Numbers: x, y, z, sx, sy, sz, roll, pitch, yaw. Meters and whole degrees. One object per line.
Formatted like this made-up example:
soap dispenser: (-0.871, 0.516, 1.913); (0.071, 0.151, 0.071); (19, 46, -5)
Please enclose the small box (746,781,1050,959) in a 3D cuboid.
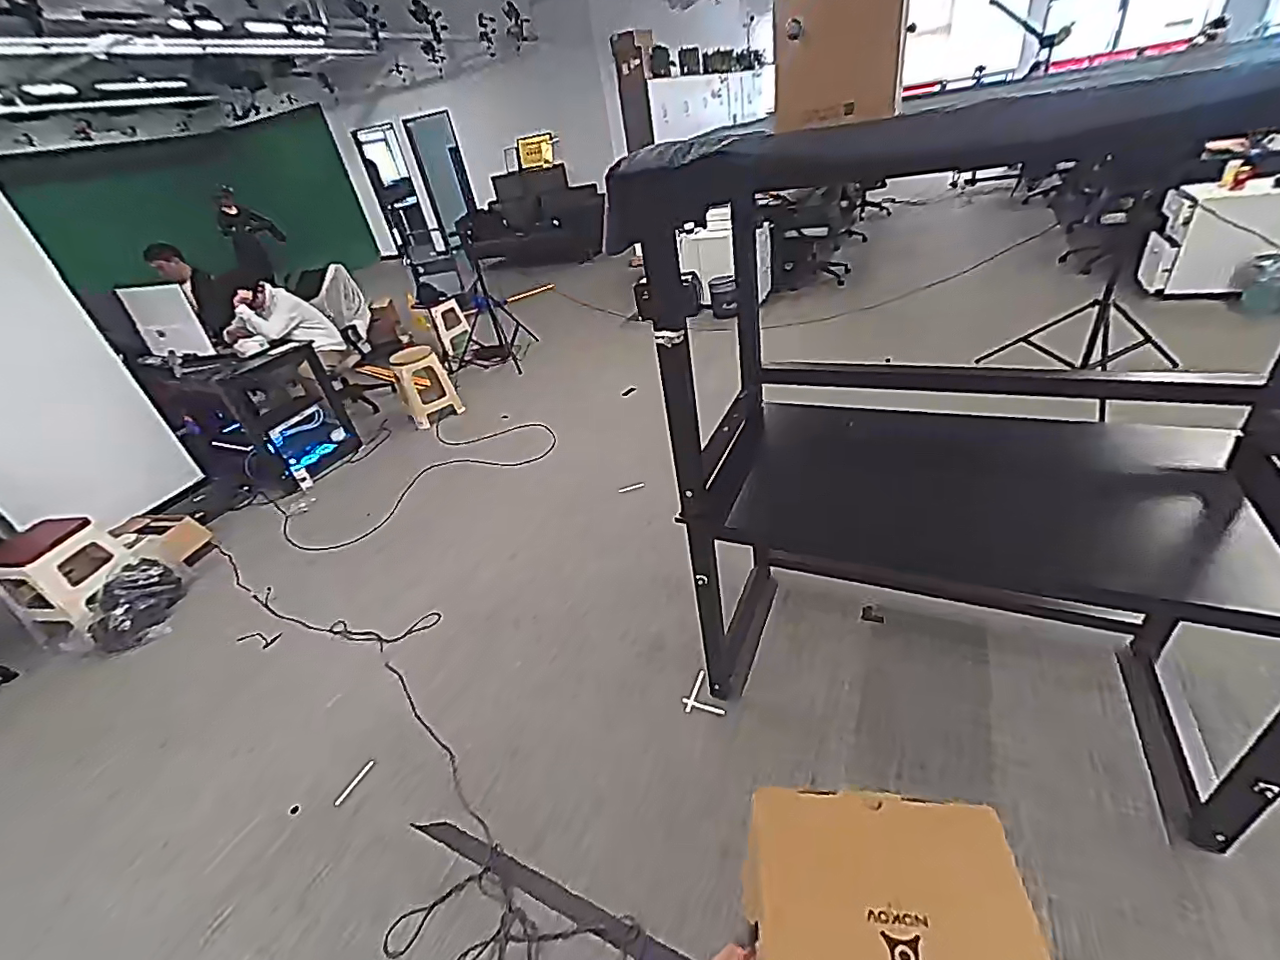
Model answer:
small box: (0.160, 0.339, 0.366); (0.168, 0.176, 0.179); (1, 34, 8)
